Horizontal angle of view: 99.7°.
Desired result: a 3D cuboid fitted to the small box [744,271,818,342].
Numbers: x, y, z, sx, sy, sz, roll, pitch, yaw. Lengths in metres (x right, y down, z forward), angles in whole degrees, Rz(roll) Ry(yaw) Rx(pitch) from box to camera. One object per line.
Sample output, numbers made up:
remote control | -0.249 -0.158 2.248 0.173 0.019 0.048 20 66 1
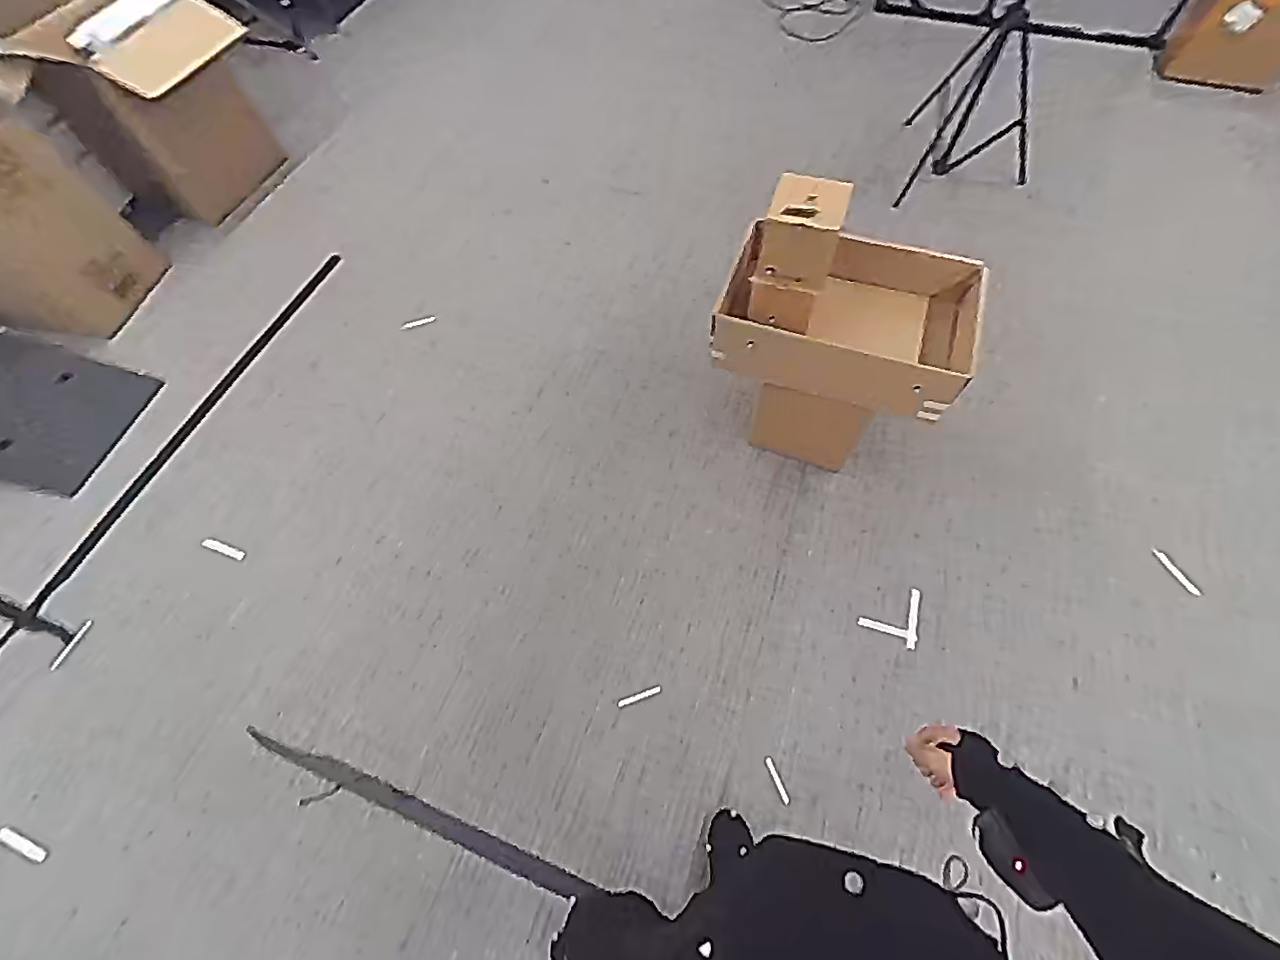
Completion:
small box | 0.381 -0.500 1.435 0.168 0.176 0.179 16 65 11

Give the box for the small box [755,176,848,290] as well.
small box | 0.380 -0.586 1.294 0.168 0.176 0.179 16 64 11
